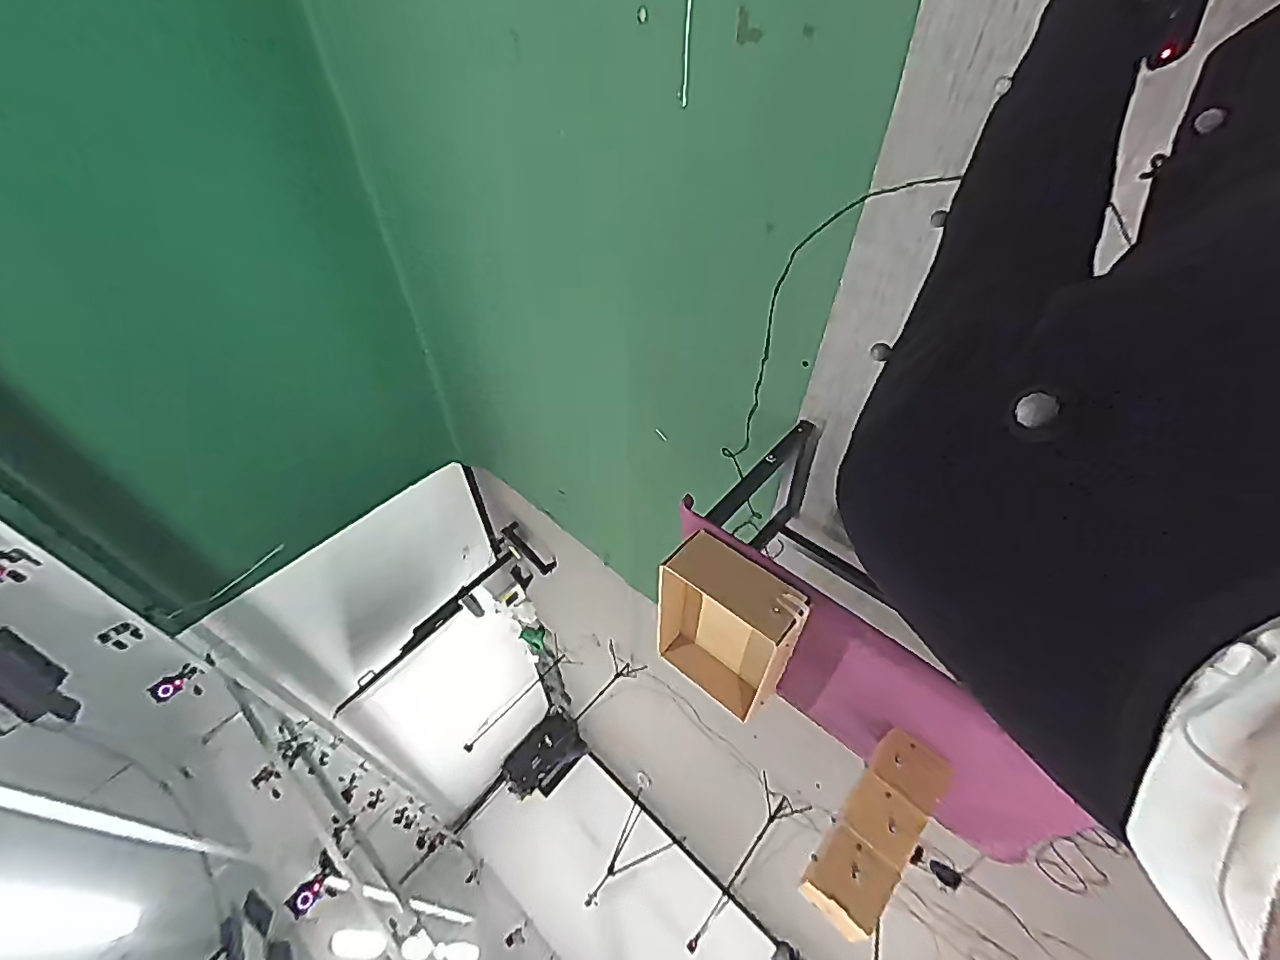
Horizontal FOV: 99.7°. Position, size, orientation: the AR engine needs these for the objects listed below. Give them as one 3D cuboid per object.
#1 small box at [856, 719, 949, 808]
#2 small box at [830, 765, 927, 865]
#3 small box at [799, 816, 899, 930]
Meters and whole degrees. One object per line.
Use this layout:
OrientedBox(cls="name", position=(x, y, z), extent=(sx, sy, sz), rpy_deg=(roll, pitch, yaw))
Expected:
OrientedBox(cls="small box", position=(0.757, 0.826, 1.556), extent=(0.168, 0.176, 0.179), rpy_deg=(34, 147, 27))
OrientedBox(cls="small box", position=(0.650, 0.915, 1.473), extent=(0.168, 0.176, 0.179), rpy_deg=(33, 147, 27))
OrientedBox(cls="small box", position=(0.540, 1.010, 1.397), extent=(0.168, 0.176, 0.179), rpy_deg=(34, 146, 28))
